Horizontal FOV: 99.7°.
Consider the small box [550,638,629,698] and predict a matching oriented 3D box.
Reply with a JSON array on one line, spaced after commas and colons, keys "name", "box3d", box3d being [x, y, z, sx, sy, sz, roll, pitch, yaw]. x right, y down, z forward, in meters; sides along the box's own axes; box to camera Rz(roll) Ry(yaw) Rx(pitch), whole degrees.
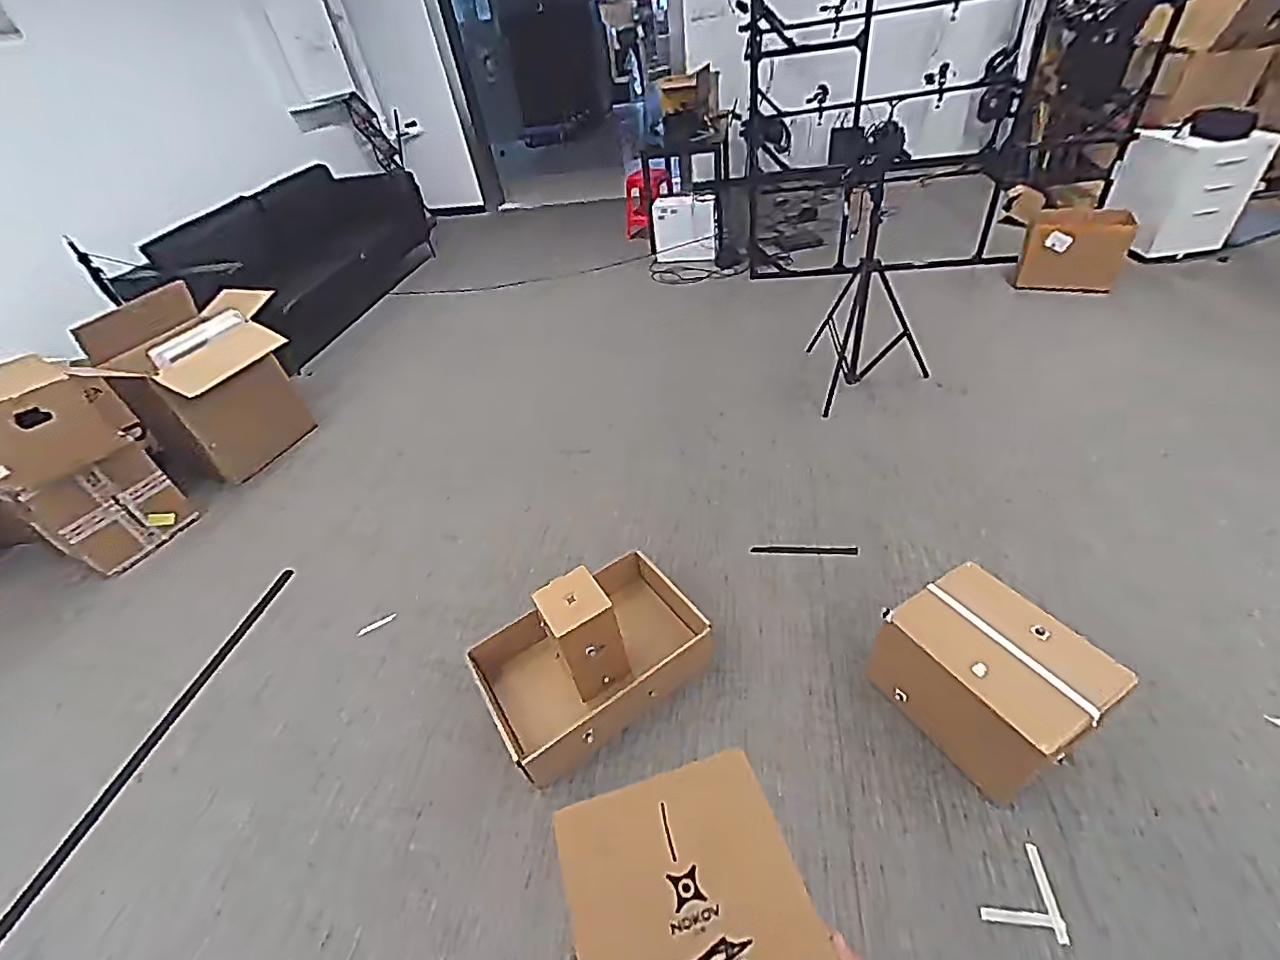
[{"name": "small box", "box3d": [-0.151, 0.496, 1.577, 0.168, 0.176, 0.179, -27, 44, -18]}]

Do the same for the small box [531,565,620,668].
[{"name": "small box", "box3d": [-0.173, 0.374, 1.473, 0.168, 0.176, 0.179, -28, 45, -19]}]

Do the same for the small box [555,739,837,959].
[{"name": "small box", "box3d": [0.036, 0.350, 0.436, 0.168, 0.176, 0.179, -12, 42, -12]}]
